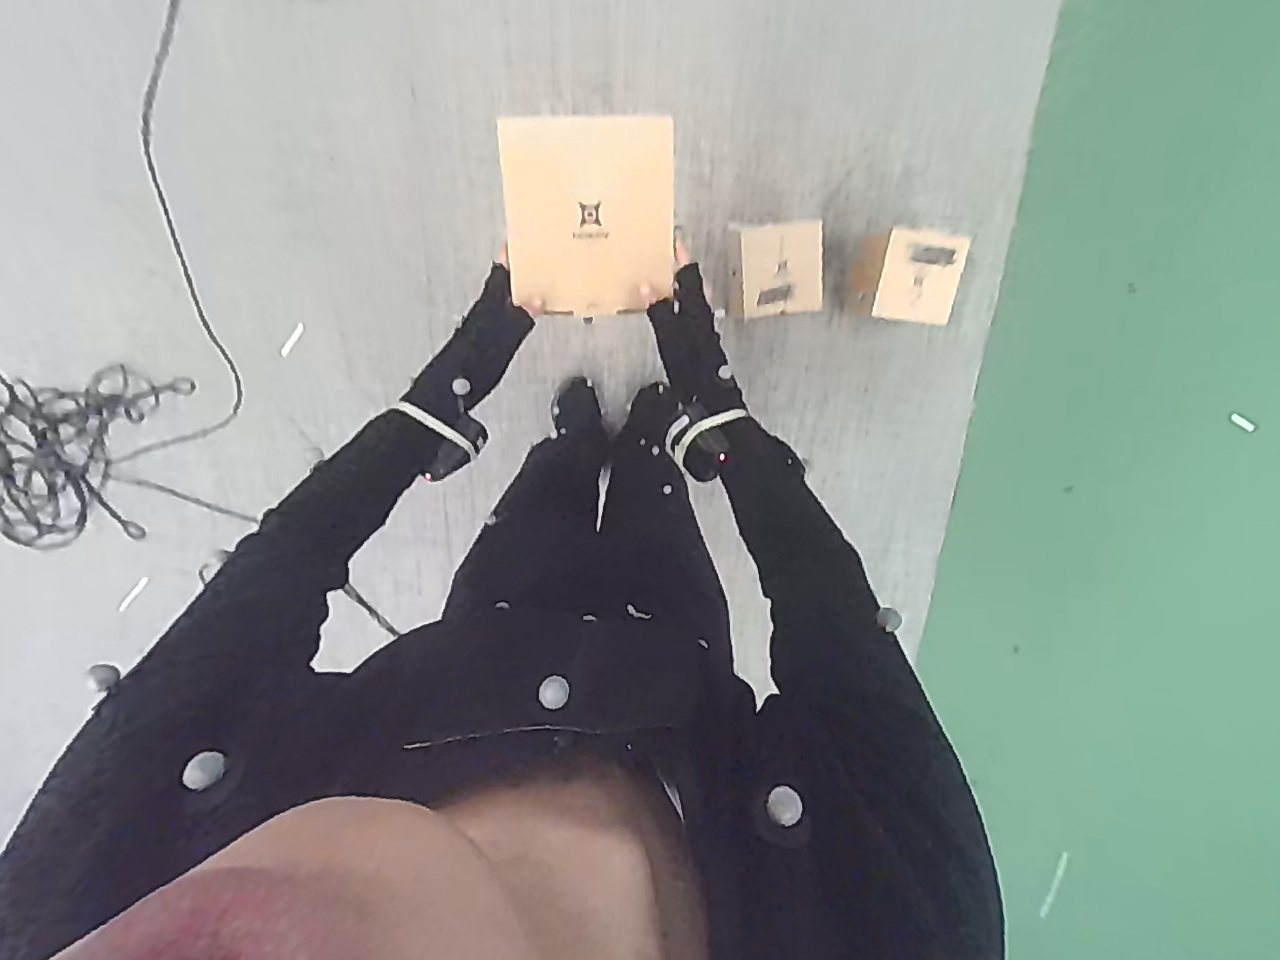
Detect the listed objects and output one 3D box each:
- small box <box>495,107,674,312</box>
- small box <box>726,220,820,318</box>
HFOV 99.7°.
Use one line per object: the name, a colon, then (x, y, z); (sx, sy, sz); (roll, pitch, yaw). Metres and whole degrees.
small box: (-0.053, -0.278, 0.591); (0.168, 0.176, 0.179); (-2, 109, -1)
small box: (0.282, -0.450, 1.170); (0.168, 0.176, 0.179); (-6, 107, 1)
